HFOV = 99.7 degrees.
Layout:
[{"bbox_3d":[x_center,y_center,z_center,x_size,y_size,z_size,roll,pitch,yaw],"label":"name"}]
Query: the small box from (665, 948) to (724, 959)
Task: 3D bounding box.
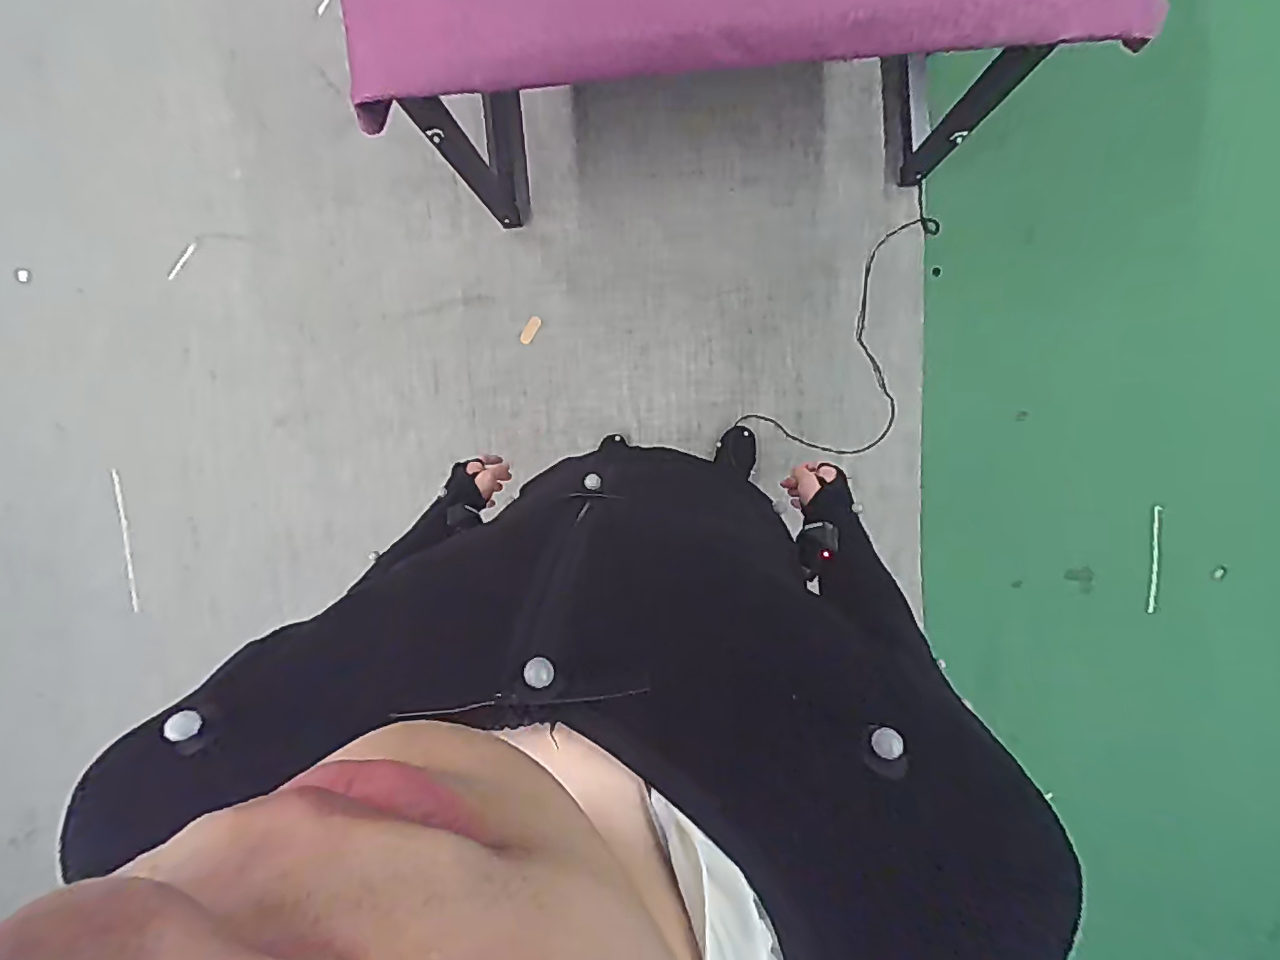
[{"bbox_3d":[0.146,1.460,1.506,0.179,0.176,0.168,6,96,2],"label":"small box"}]
